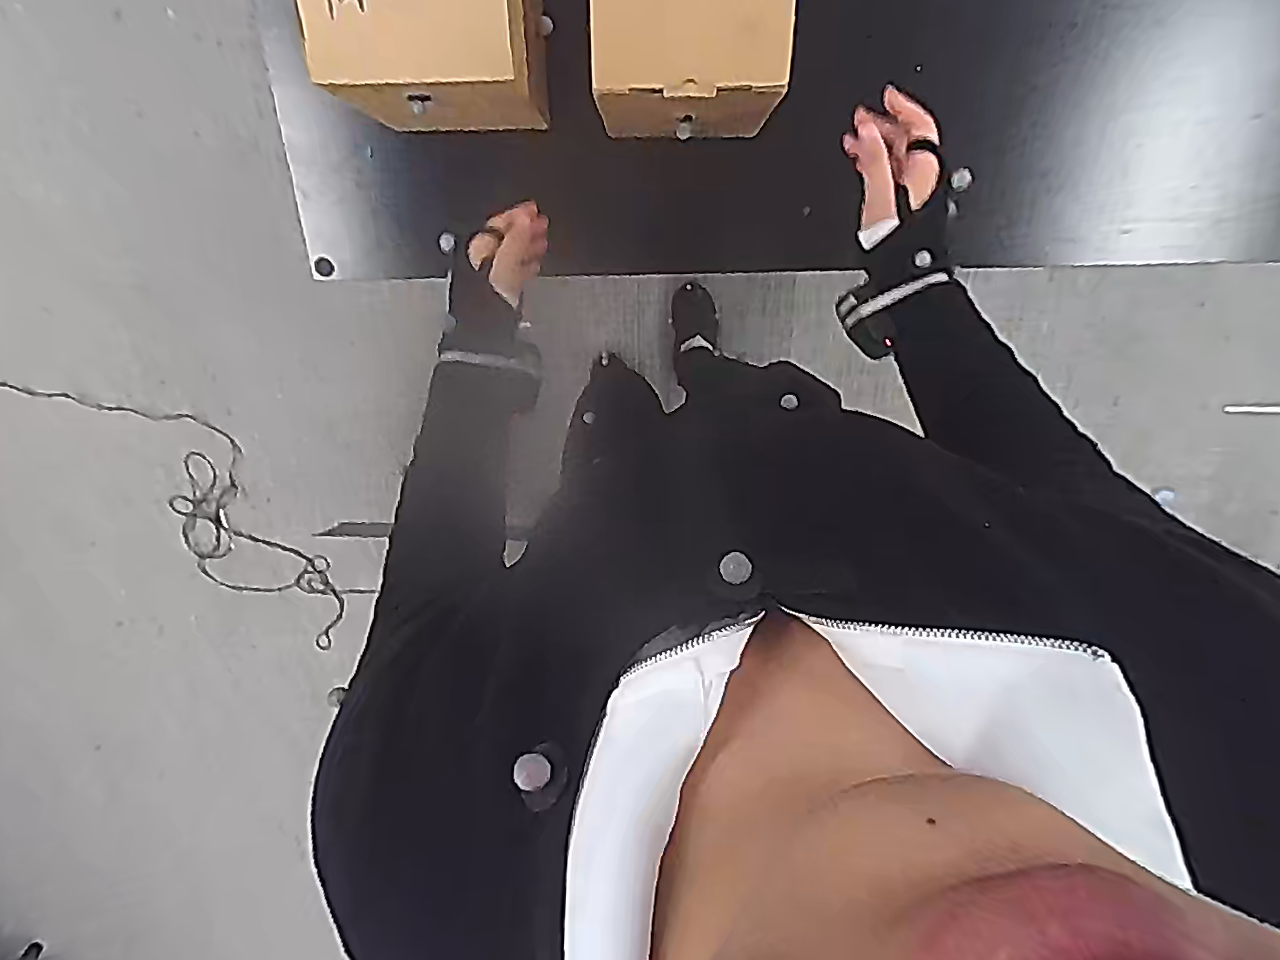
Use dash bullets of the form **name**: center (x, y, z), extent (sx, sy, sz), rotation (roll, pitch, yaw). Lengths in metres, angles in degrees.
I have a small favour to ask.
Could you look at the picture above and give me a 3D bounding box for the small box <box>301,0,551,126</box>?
- **small box**: center (-0.188, -0.444, 0.504), extent (0.179, 0.176, 0.168), rotation (0, 112, 1)
